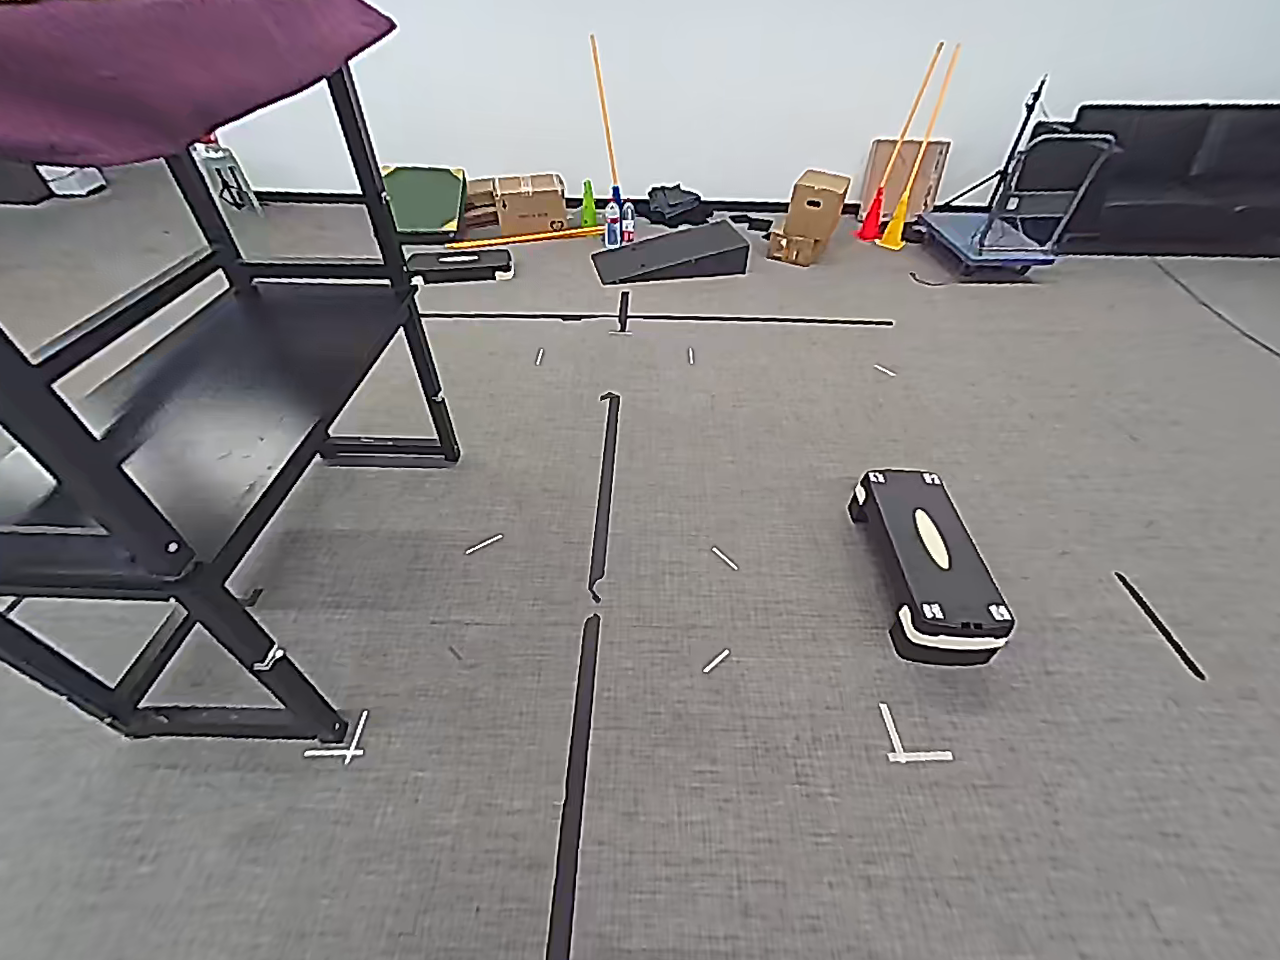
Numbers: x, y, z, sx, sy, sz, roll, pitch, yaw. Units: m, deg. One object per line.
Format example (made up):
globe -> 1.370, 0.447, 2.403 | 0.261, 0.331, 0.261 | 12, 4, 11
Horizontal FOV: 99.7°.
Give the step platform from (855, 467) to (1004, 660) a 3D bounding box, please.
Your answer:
step platform -> 0.943, 0.243, 1.824 | 0.286, 0.204, 0.684 | 5, 43, 5
